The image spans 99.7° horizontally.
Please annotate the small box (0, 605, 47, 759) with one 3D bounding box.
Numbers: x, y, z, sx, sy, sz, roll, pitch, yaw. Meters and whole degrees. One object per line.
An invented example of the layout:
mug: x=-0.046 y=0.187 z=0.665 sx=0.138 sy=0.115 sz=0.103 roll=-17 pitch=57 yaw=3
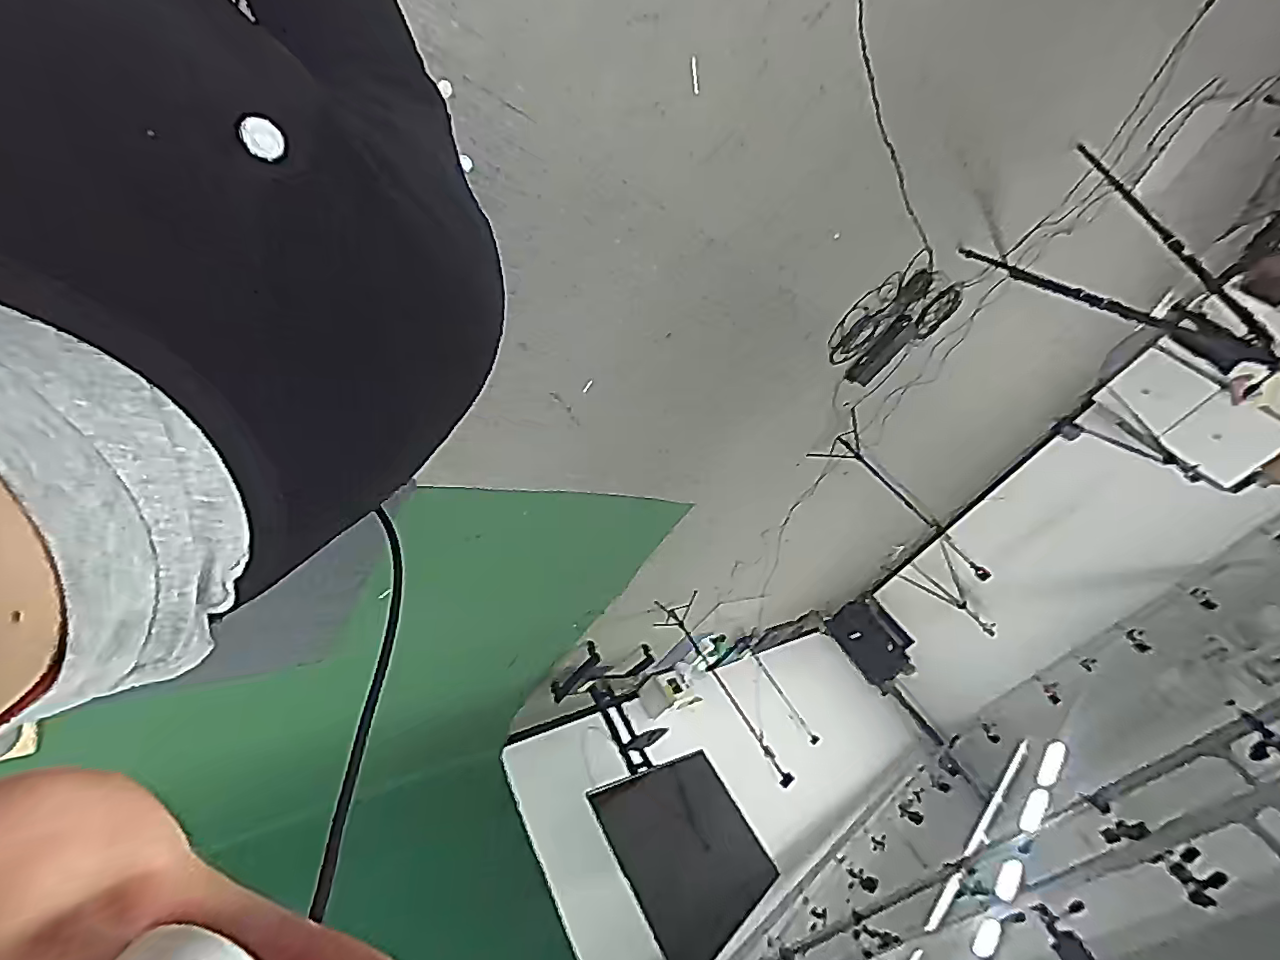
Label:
small box: x=-1.019 y=0.316 z=0.814 sx=0.168 sy=0.176 sz=0.179 roll=0 pitch=133 yaw=-47
